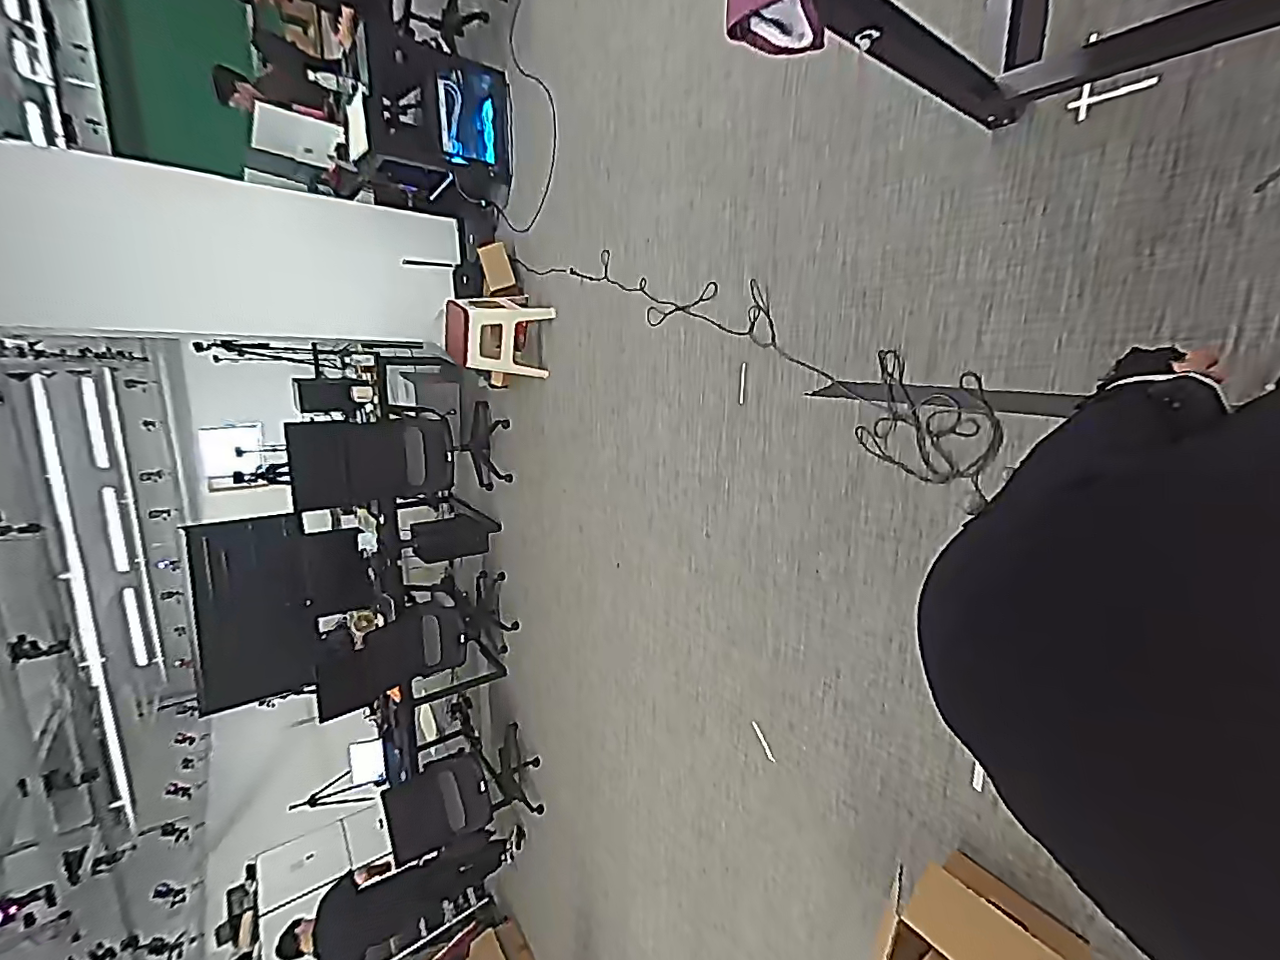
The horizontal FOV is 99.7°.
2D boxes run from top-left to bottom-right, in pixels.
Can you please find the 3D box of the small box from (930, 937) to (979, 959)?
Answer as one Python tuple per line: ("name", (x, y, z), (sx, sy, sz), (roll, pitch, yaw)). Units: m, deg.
("small box", (0.735, 1.219, 1.242), (0.168, 0.176, 0.179), (29, 122, 51))
